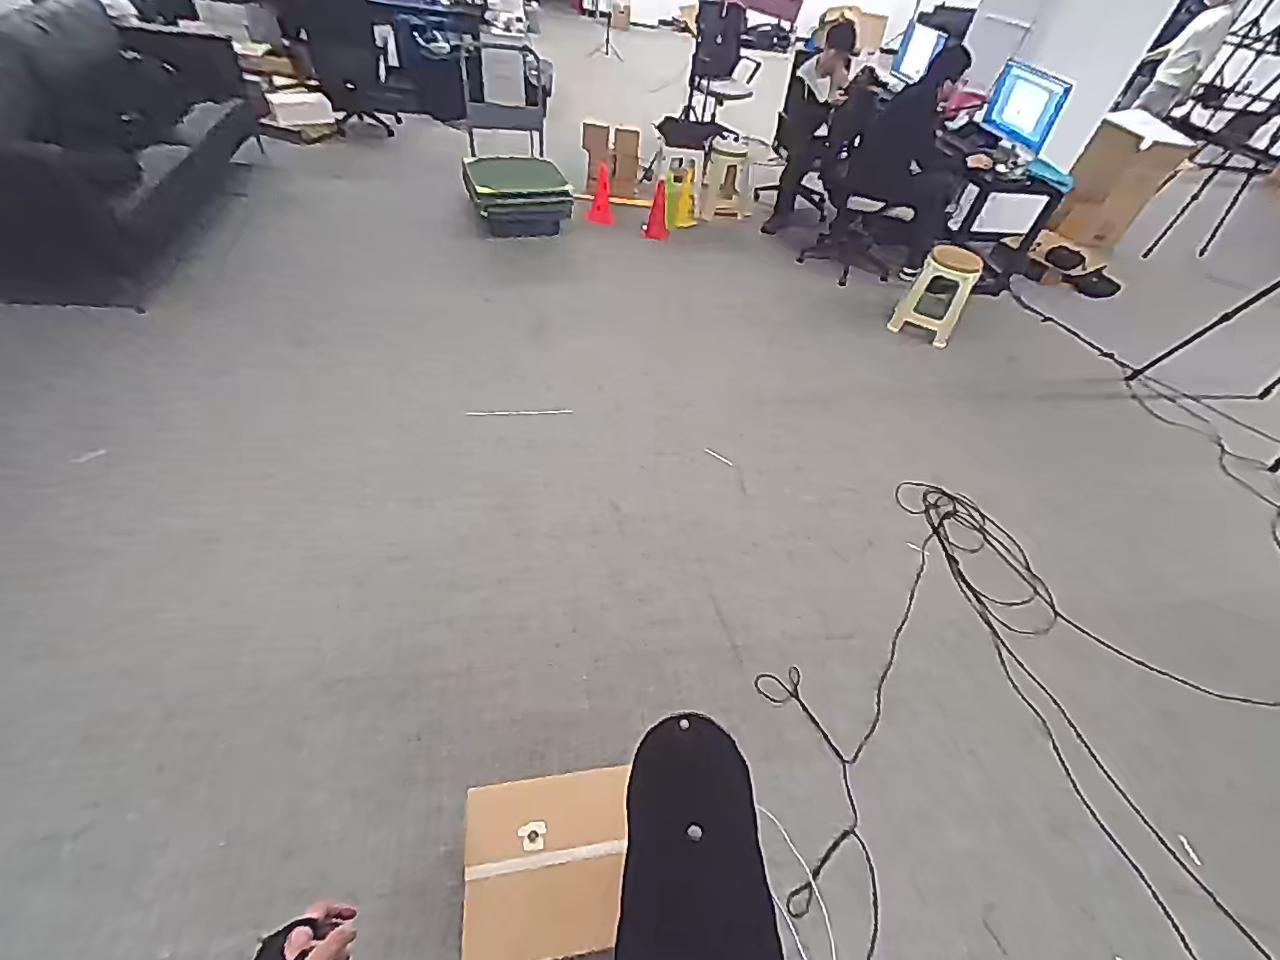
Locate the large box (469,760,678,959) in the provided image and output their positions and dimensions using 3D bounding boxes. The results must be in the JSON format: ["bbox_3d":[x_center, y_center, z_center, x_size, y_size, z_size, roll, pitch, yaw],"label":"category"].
[{"bbox_3d":[-0.159,0.876,1.229,0.408,0.320,0.320,-4,47,-11],"label":"large box"}]
